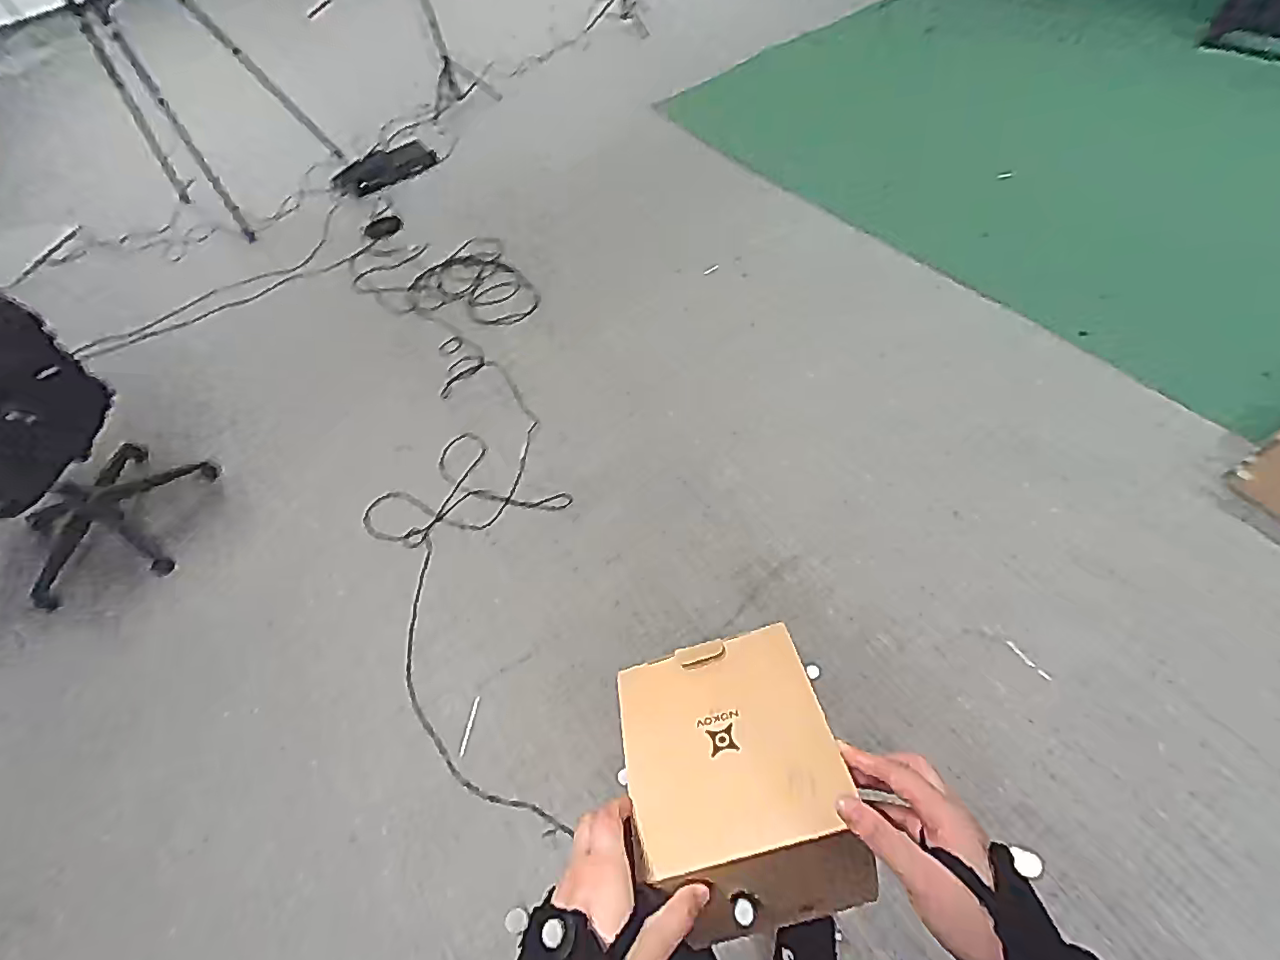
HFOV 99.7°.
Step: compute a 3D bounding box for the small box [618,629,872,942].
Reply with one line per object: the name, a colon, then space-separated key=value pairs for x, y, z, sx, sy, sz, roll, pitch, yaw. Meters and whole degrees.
small box: x=0.088 y=0.269 z=0.474 sx=0.168 sy=0.176 sz=0.179 roll=-17 pitch=34 yaw=5
